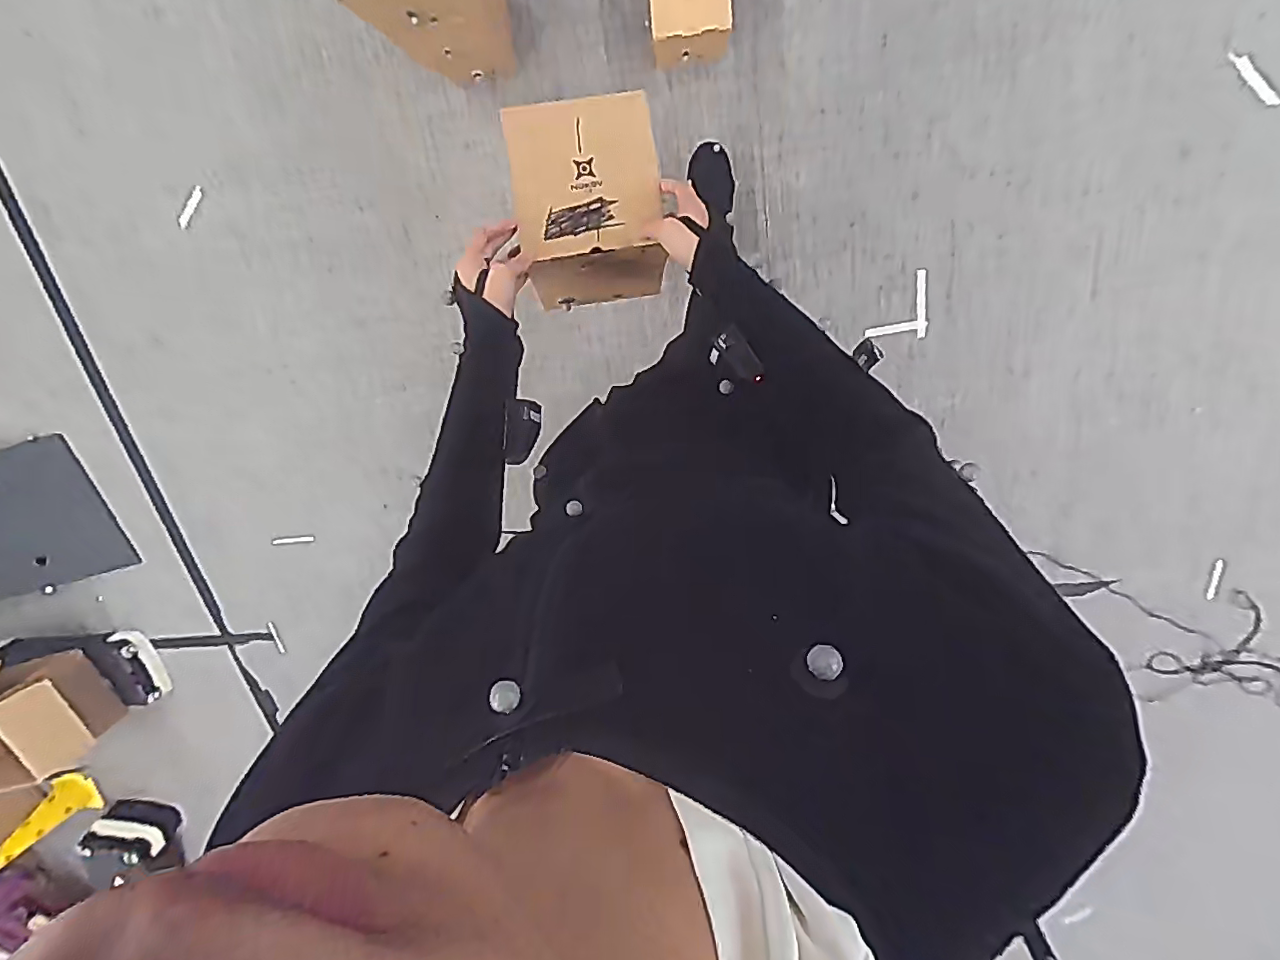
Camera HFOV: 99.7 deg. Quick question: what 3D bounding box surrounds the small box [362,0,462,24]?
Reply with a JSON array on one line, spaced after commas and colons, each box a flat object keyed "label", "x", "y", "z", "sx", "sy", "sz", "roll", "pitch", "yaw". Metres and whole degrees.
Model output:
[{"label": "small box", "x": -0.418, "y": -0.907, "z": 0.892, "sx": 0.168, "sy": 0.176, "sz": 0.179, "roll": -7, "pitch": 112, "yaw": 9}]

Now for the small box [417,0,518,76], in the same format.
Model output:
[{"label": "small box", "x": -0.387, "y": -1.035, "z": 1.192, "sx": 0.168, "sy": 0.176, "sz": 0.179, "roll": -7, "pitch": 111, "yaw": 9}]

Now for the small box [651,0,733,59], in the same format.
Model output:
[{"label": "small box", "x": 0.106, "y": -1.039, "z": 1.151, "sx": 0.168, "sy": 0.176, "sz": 0.179, "roll": -4, "pitch": 112, "yaw": 6}]

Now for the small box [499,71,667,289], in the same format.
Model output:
[{"label": "small box", "x": -0.064, "y": -0.350, "z": 0.668, "sx": 0.168, "sy": 0.176, "sz": 0.179, "roll": -9, "pitch": 90, "yaw": -3}]
